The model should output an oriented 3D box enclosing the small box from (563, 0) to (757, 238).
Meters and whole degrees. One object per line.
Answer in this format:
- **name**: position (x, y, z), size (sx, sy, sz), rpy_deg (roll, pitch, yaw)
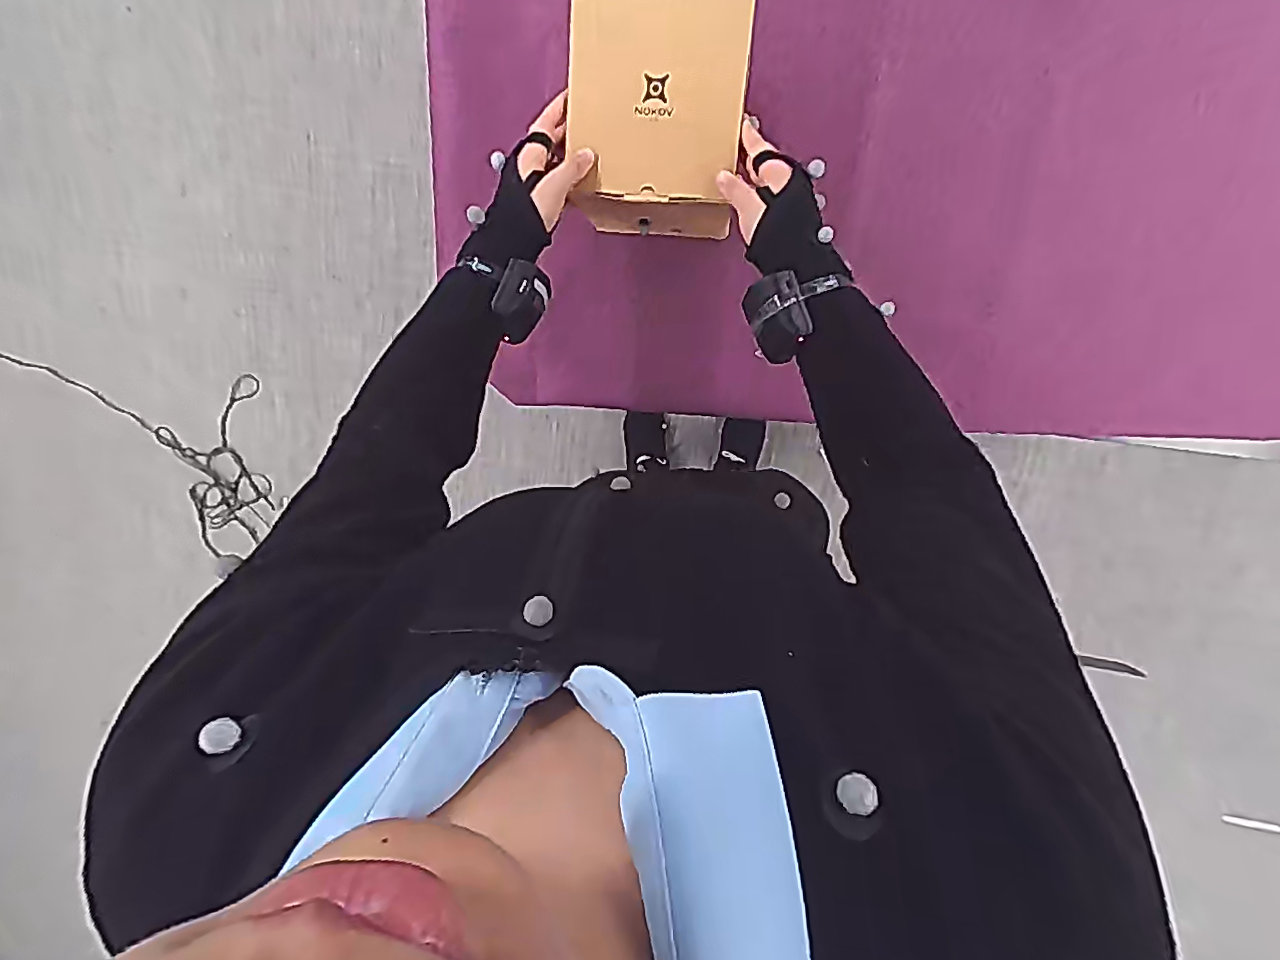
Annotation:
- **small box**: position (0.022, -0.370, 0.572), size (0.168, 0.176, 0.179), rpy_deg (6, 105, 6)
